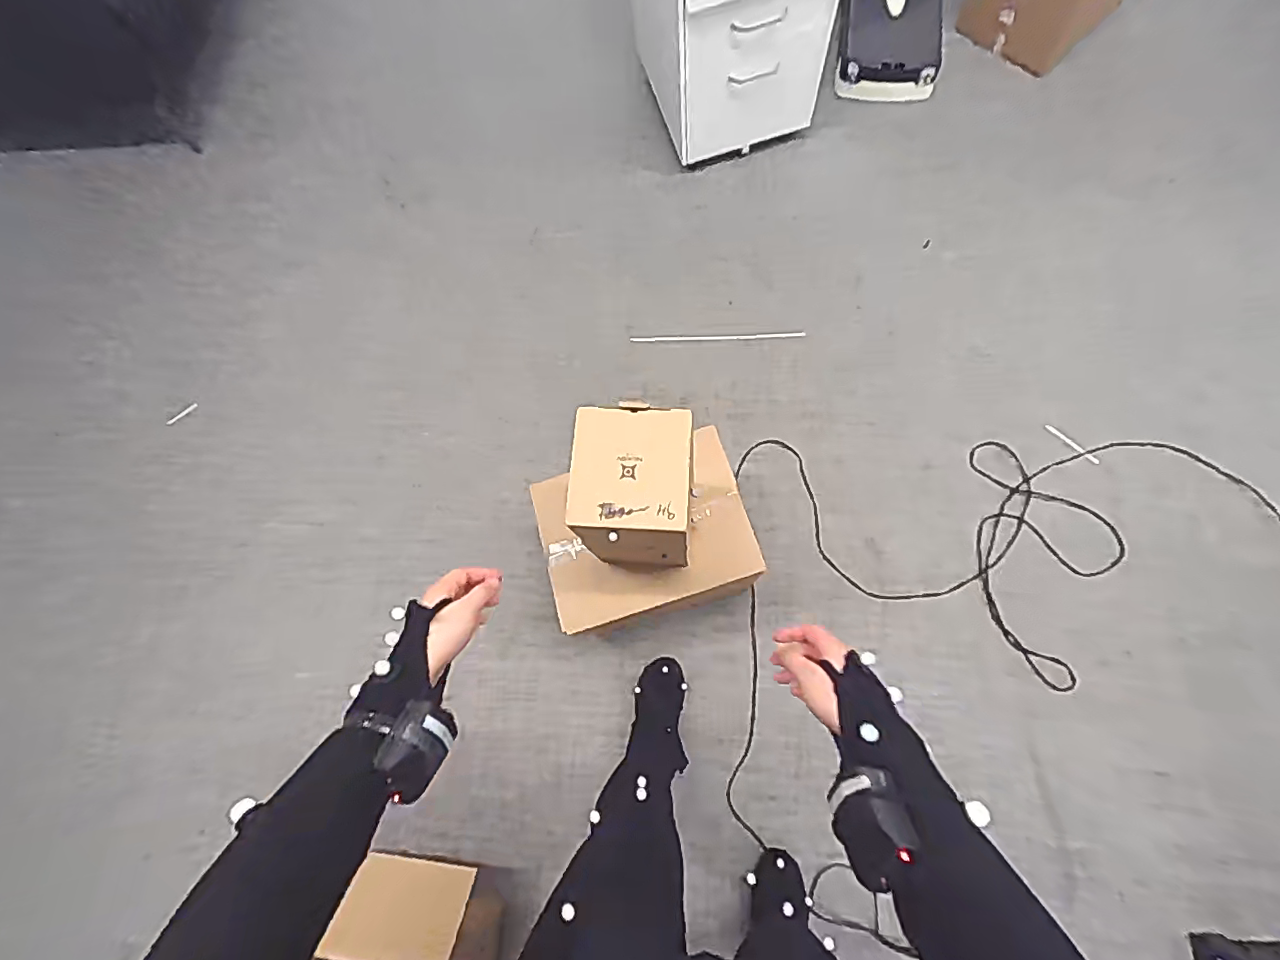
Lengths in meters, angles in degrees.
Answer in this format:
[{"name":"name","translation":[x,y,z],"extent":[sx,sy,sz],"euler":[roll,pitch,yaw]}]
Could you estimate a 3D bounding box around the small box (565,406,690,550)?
[{"name":"small box","translation":[-0.009,0.002,0.833],"extent":[0.168,0.176,0.179],"euler":[2,73,7]}]
